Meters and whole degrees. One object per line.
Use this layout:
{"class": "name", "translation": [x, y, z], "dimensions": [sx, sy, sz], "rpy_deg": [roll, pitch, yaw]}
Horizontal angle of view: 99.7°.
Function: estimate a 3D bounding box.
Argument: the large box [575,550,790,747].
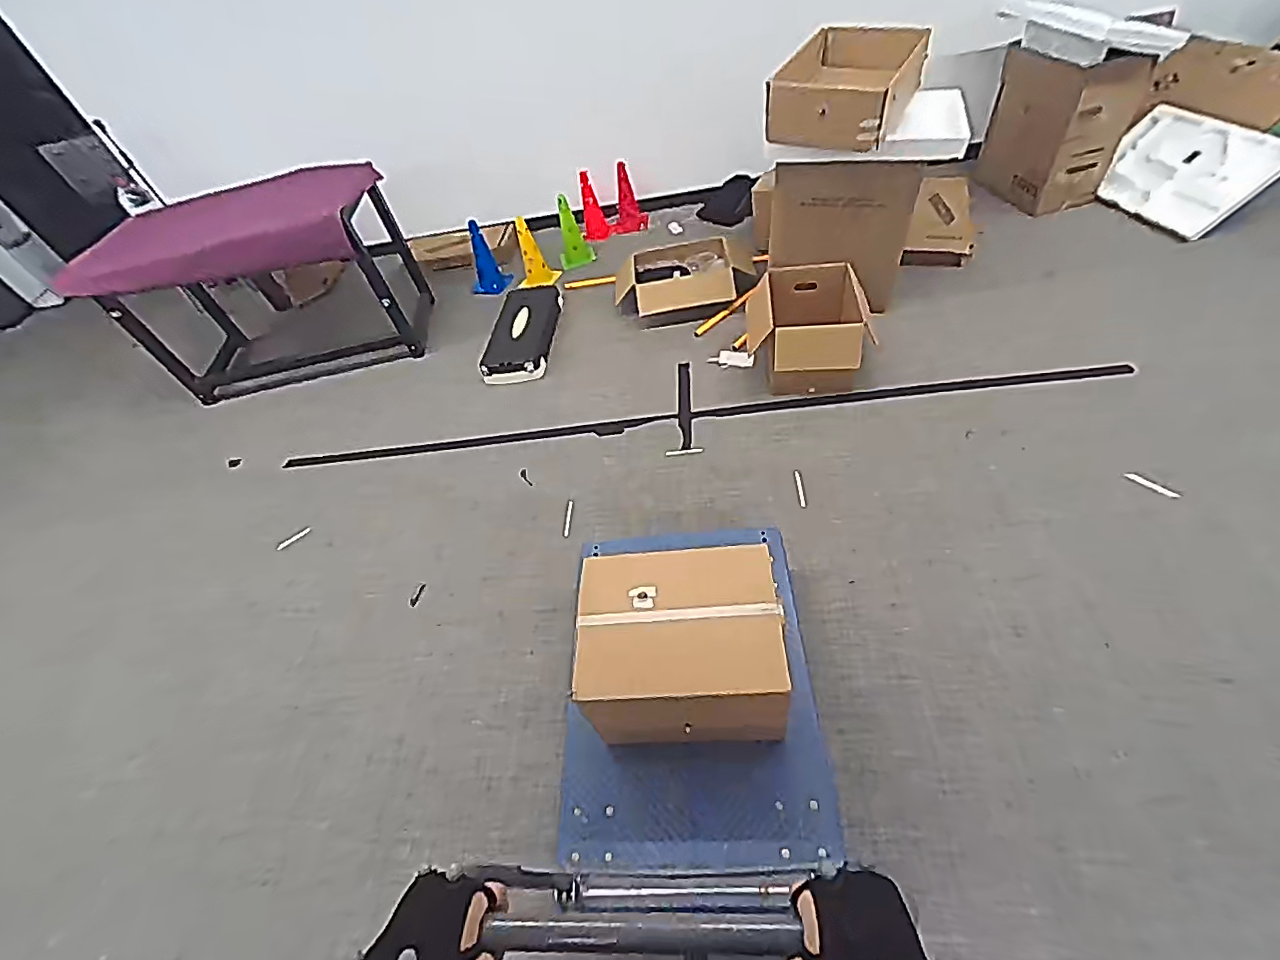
{"class": "large box", "translation": [0.100, 0.384, 1.200], "dimensions": [0.408, 0.320, 0.320], "rpy_deg": [-7, 48, 8]}
